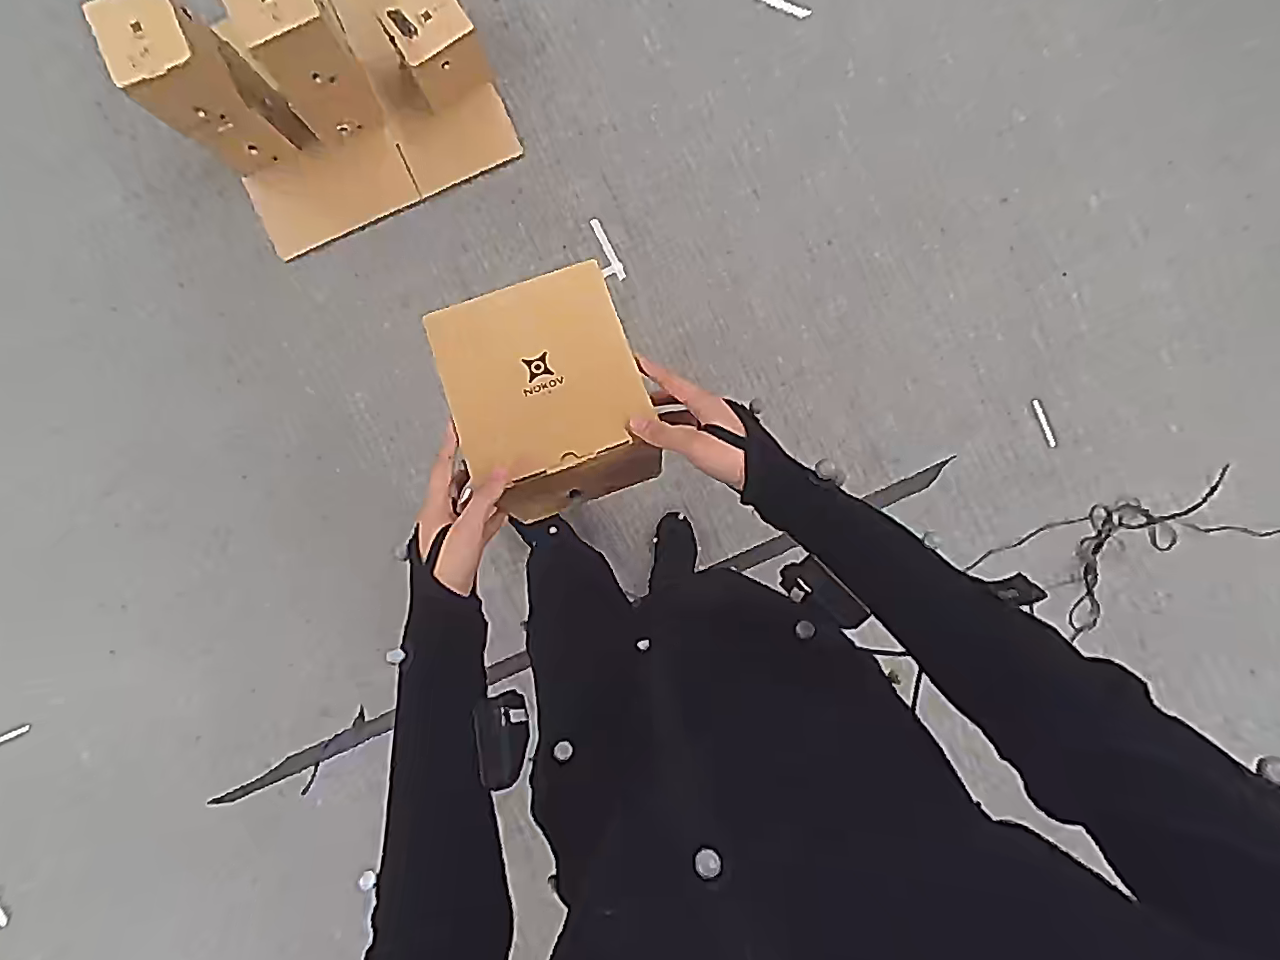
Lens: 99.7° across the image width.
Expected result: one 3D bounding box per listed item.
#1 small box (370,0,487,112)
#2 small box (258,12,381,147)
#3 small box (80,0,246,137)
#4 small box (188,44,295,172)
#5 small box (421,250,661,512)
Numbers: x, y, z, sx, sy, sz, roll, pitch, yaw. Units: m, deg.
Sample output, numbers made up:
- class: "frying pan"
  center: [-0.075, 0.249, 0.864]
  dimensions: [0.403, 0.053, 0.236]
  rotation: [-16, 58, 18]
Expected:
- class: "small box"
  center: [-0.502, -1.051, 1.311]
  dimensions: [0.179, 0.176, 0.168]
  rotation: [-34, 93, 0]
- class: "small box"
  center: [-0.765, -0.958, 1.308]
  dimensions: [0.168, 0.176, 0.179]
  rotation: [-21, 92, -1]
- class: "small box"
  center: [-0.990, -0.876, 1.139]
  dimensions: [0.168, 0.176, 0.179]
  rotation: [-22, 92, 0]
- class: "small box"
  center: [-0.982, -0.880, 1.304]
  dimensions: [0.168, 0.176, 0.179]
  rotation: [-23, 93, 0]
- class: "small box"
  center: [-0.087, -0.083, 0.536]
  dimensions: [0.168, 0.176, 0.179]
  rotation: [-20, 79, -3]
